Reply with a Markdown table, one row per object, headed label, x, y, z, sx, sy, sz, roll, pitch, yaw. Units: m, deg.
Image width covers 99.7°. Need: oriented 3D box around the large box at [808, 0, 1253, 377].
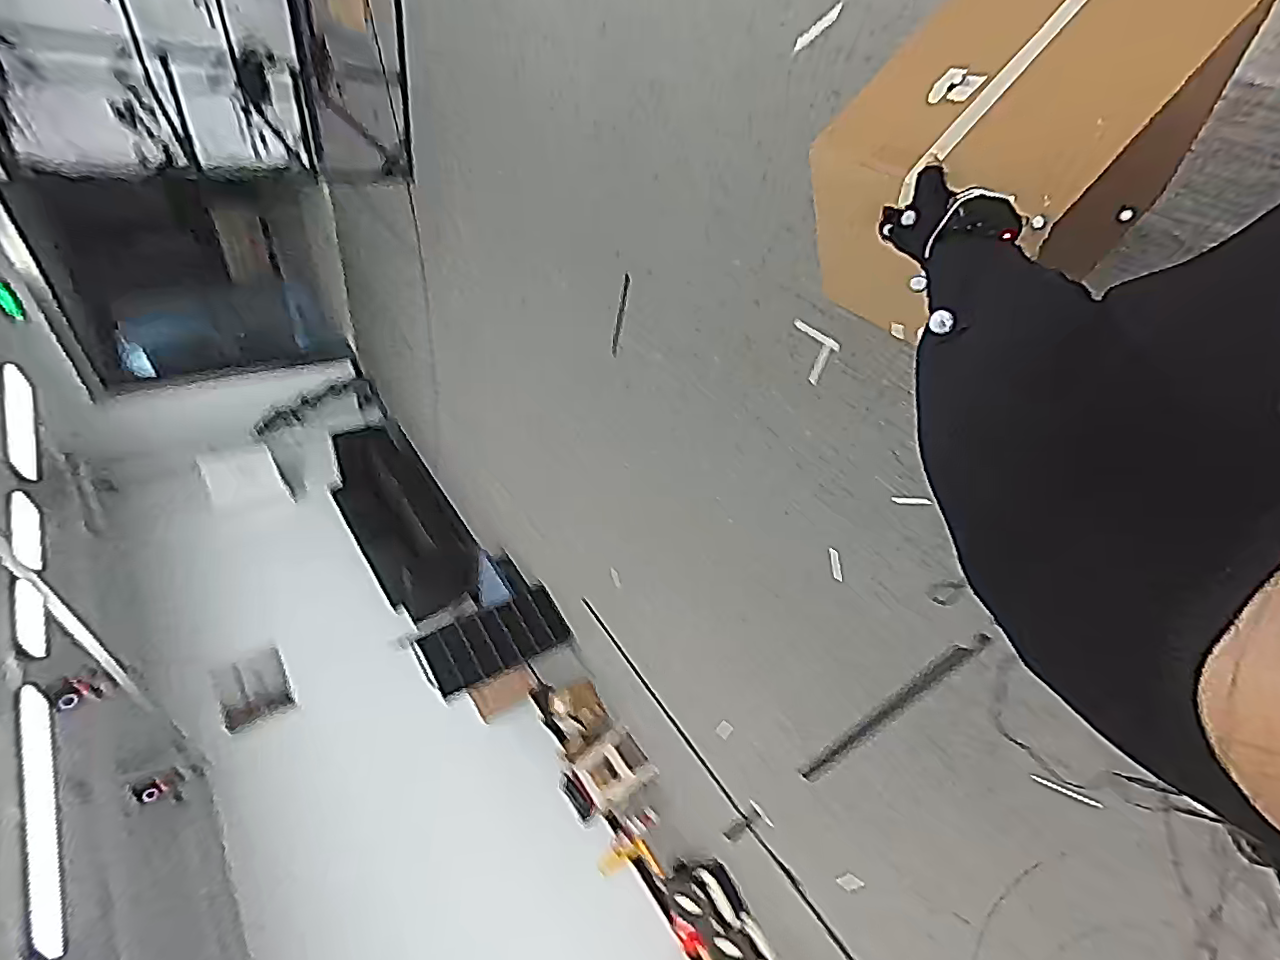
| label | x | y | z | sx | sy | sz | roll | pitch | yaw |
| --- | --- | --- | --- | --- | --- | --- | --- | --- | --- |
| large box | 0.509 | -0.439 | 0.789 | 0.320 | 0.408 | 0.320 | 42 | 180 | 31 |
